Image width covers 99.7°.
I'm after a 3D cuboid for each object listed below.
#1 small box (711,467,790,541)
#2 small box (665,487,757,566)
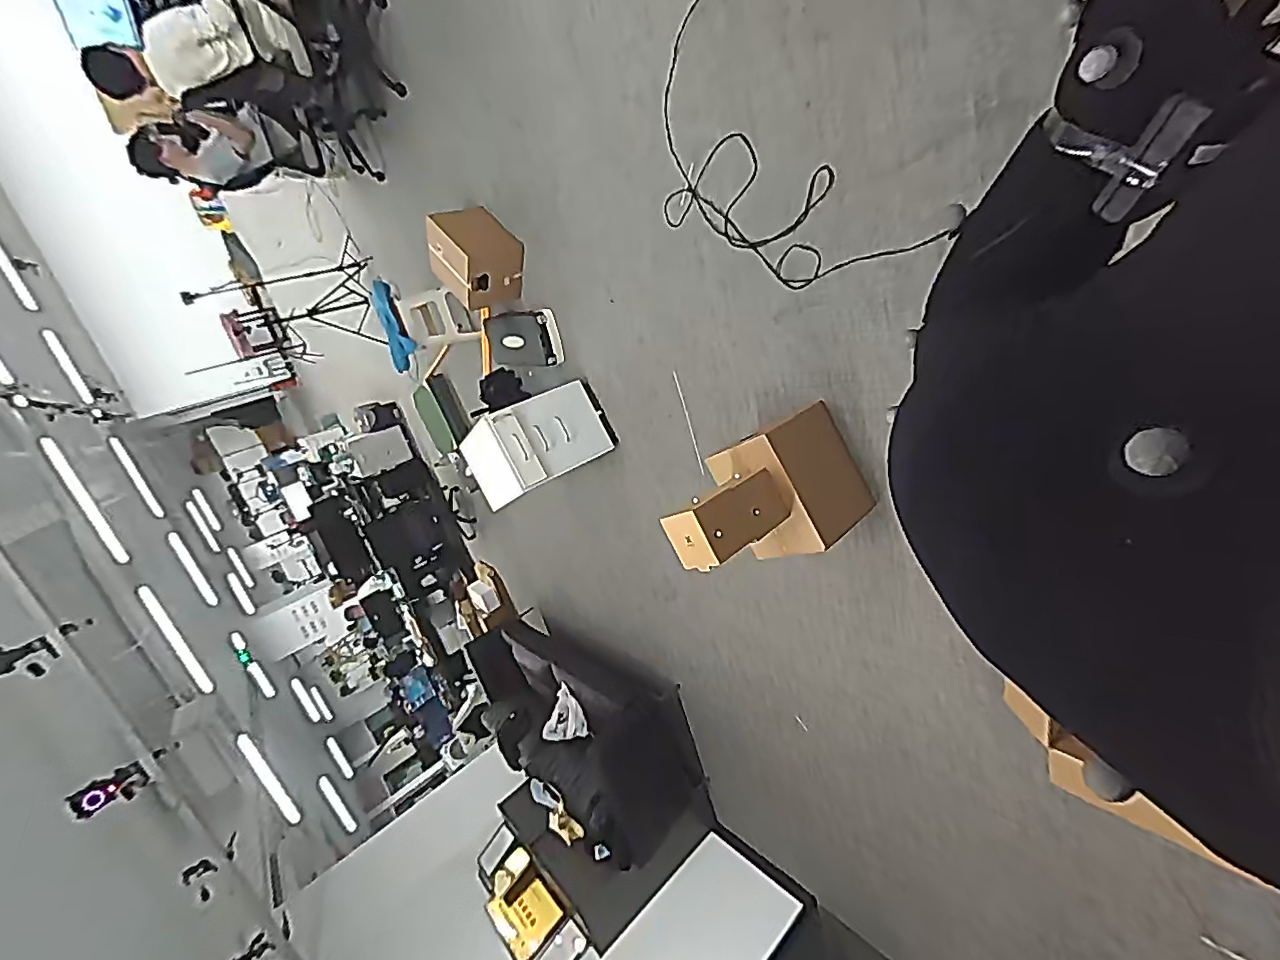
[{"bbox_3d":[0.336,0.081,1.689,0.168,0.176,0.179,-23,94,56],"label":"small box"},{"bbox_3d":[0.211,0.135,1.600,0.168,0.176,0.179,-23,96,56],"label":"small box"}]
